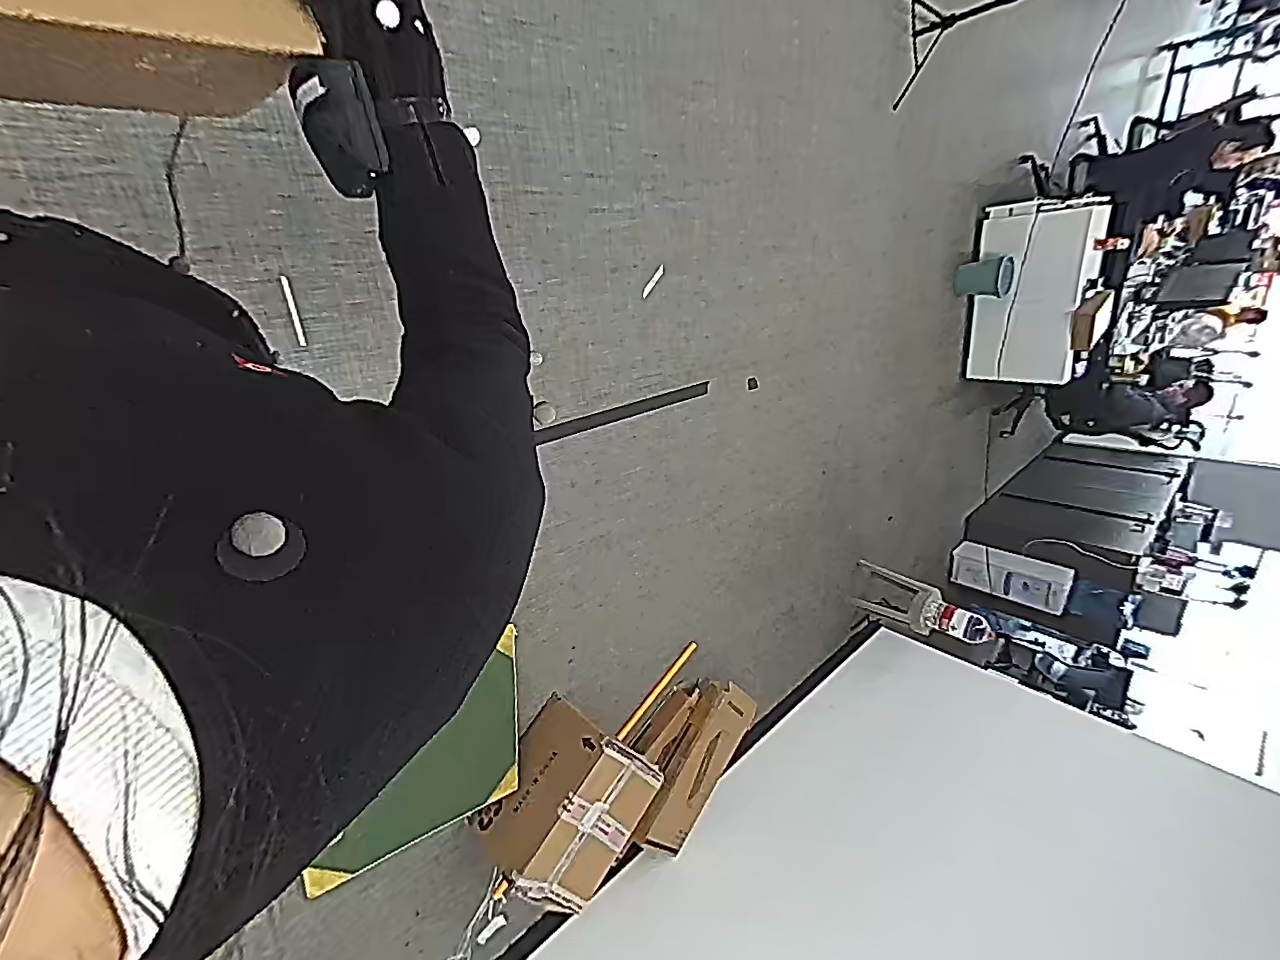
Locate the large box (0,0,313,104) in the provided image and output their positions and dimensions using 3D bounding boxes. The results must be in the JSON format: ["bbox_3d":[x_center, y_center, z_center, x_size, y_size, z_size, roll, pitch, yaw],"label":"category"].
[{"bbox_3d":[-0.446,-0.384,0.241,0.408,0.320,0.320,-23,126,-36],"label":"large box"}]
